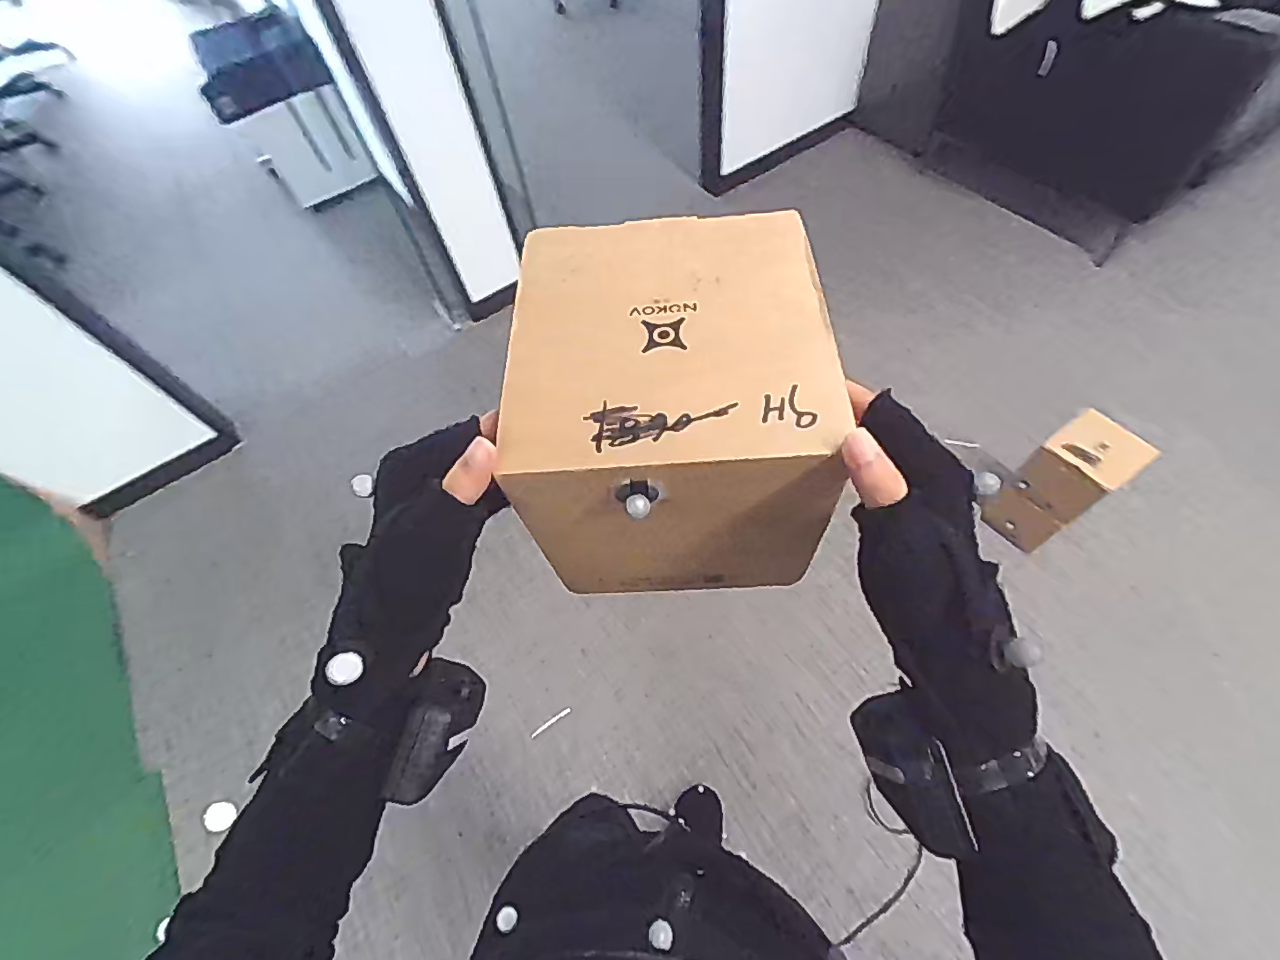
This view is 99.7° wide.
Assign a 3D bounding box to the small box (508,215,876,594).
[{"bbox_3d":[0.029,-0.039,0.349,0.168,0.176,0.179,-2,59,5],"label":"small box"}]

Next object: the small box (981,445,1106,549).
[{"bbox_3d":[1.046,0.048,1.420,0.179,0.176,0.168,-33,60,-12],"label":"small box"}]
